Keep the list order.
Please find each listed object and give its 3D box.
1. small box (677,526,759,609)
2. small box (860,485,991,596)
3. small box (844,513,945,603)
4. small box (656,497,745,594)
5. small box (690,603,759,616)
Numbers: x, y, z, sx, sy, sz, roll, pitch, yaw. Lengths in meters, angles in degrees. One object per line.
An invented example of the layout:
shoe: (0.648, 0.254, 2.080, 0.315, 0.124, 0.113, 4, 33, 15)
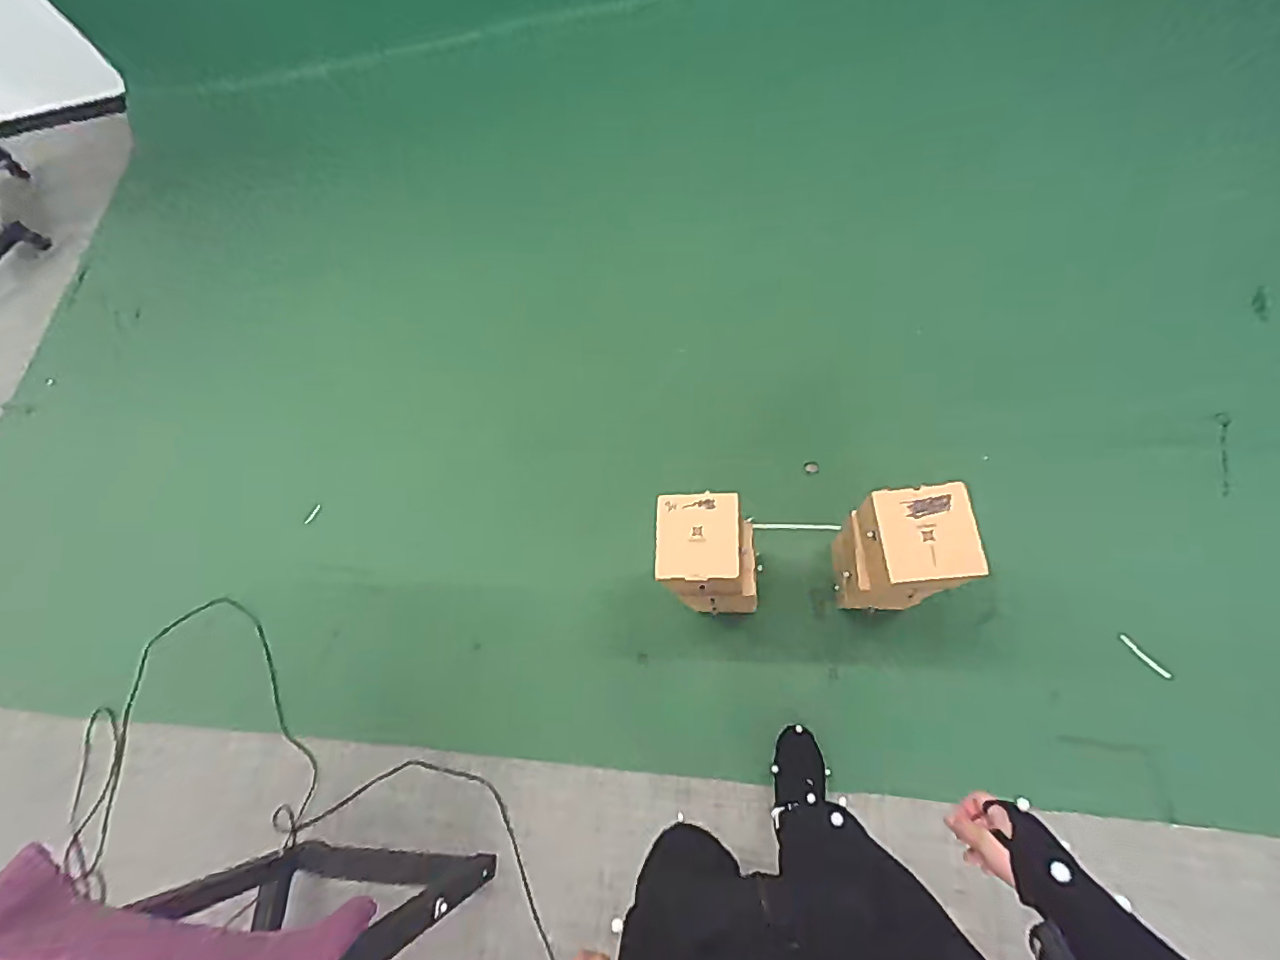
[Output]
small box: (0.187, 0.212, 1.276, 0.179, 0.176, 0.168, -3, 70, 12)
small box: (0.538, 0.124, 1.049, 0.168, 0.176, 0.179, -7, 71, 10)
small box: (0.556, 0.177, 1.203, 0.168, 0.176, 0.179, -2, 71, 11)
small box: (0.133, 0.143, 1.134, 0.168, 0.176, 0.179, -2, 70, 13)
small box: (0.225, 0.263, 1.427, 0.168, 0.176, 0.179, -3, 69, 13)
